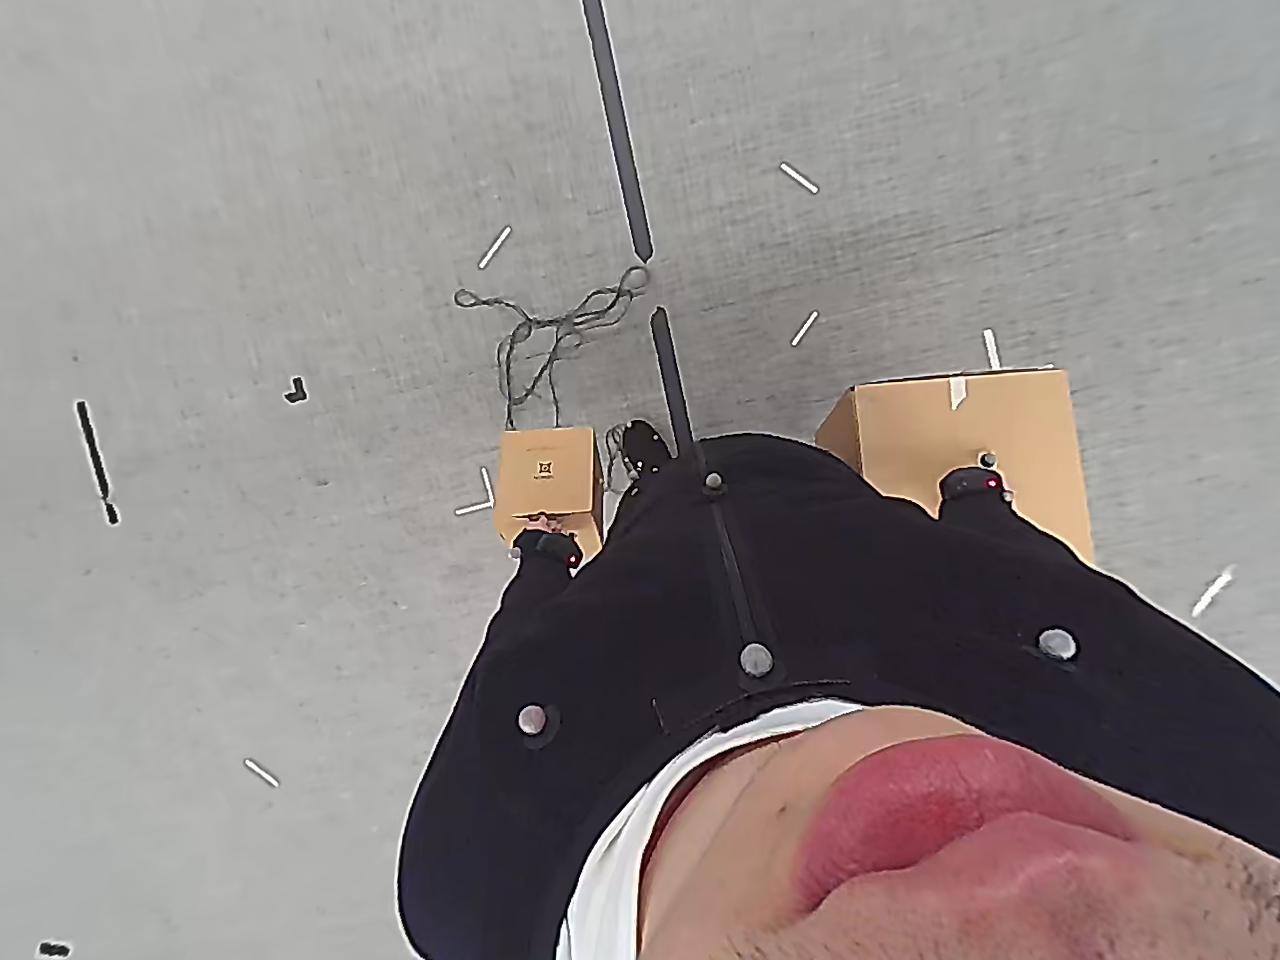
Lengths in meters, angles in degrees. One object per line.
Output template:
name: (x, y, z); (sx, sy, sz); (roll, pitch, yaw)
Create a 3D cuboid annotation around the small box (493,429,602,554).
small box: (-0.158, 0.028, 0.987); (0.168, 0.176, 0.179); (-3, 59, 1)
